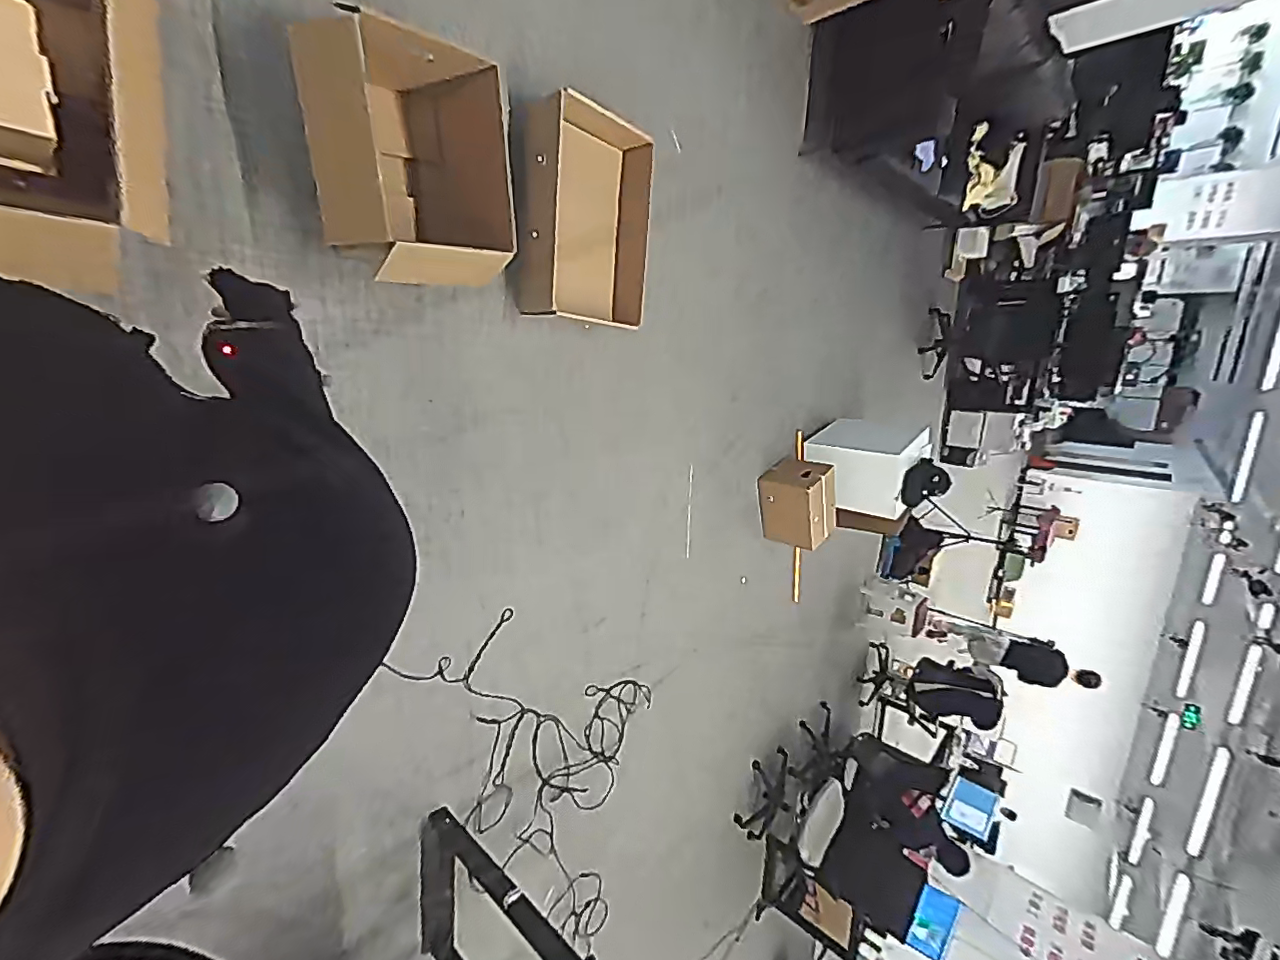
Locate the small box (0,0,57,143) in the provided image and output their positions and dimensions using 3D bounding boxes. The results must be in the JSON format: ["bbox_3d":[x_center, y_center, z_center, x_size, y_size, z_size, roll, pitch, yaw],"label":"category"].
[{"bbox_3d":[-0.914,-0.569,0.709,0.179,0.176,0.168,-11,107,-50],"label":"small box"}]
